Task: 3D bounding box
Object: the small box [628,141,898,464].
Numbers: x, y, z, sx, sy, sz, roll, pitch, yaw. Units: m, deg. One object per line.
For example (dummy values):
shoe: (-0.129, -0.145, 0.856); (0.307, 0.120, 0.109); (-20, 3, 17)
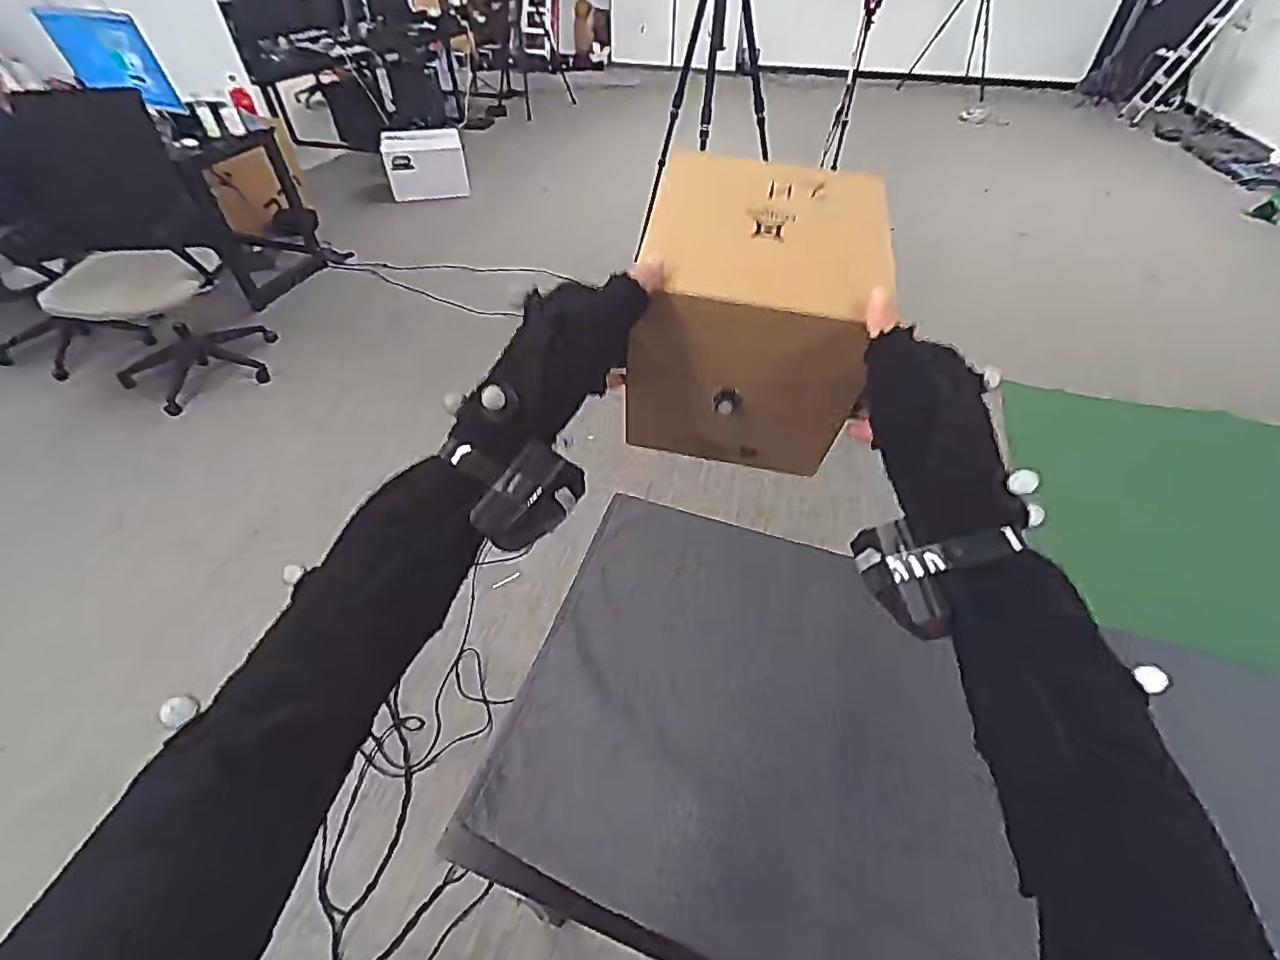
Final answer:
small box: (0.087, -0.135, 0.437); (0.168, 0.176, 0.179); (11, 56, 4)
